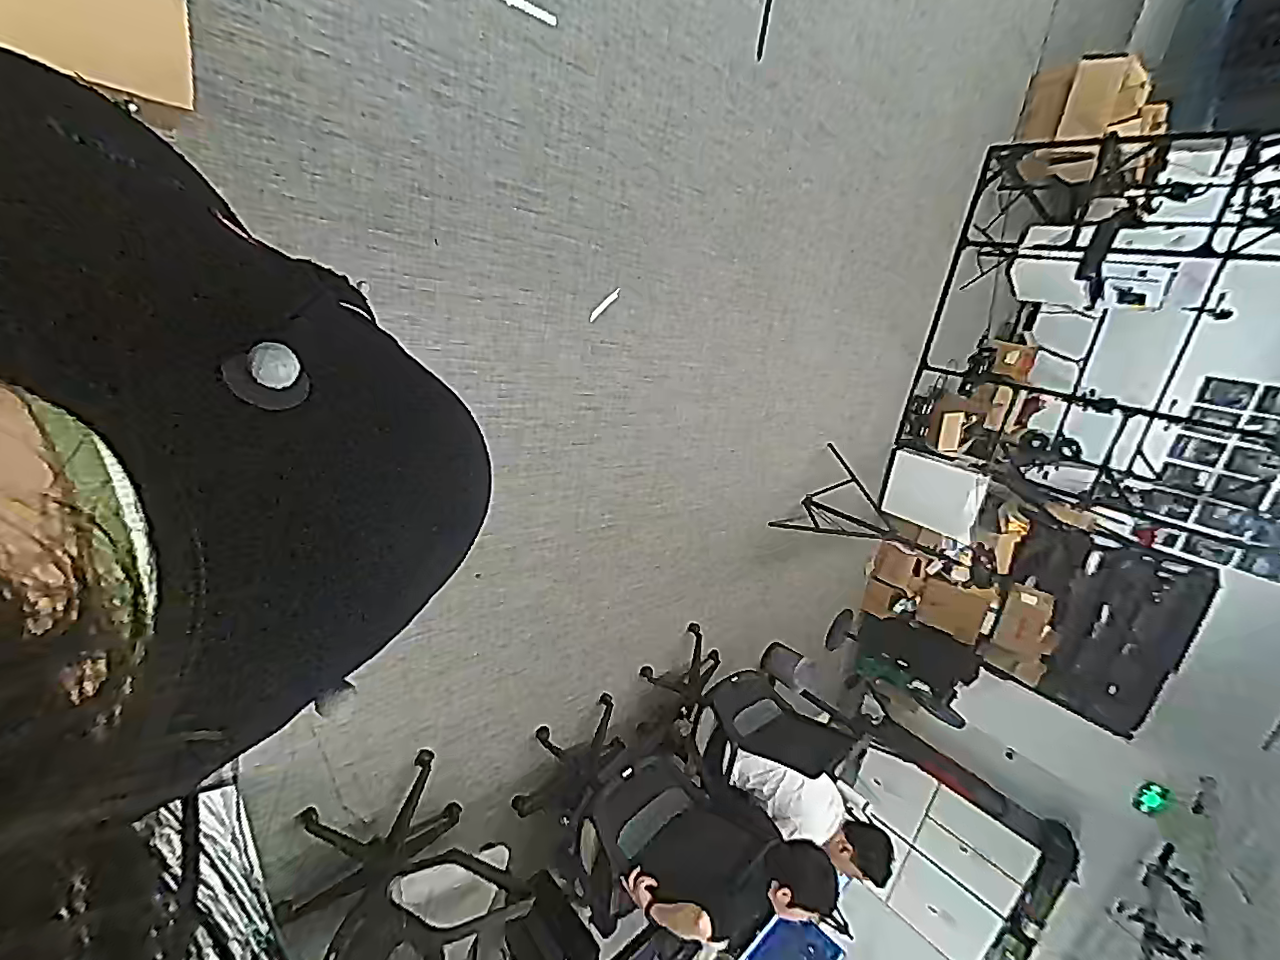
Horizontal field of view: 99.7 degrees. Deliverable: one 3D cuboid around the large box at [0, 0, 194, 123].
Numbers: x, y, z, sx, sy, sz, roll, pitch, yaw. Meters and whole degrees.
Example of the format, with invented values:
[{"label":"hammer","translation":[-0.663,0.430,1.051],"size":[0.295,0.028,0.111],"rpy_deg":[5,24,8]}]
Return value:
[{"label":"large box","translation":[-0.914,-0.749,0.759],"size":[0.408,0.320,0.320],"rpy_deg":[-8,114,-43]}]
